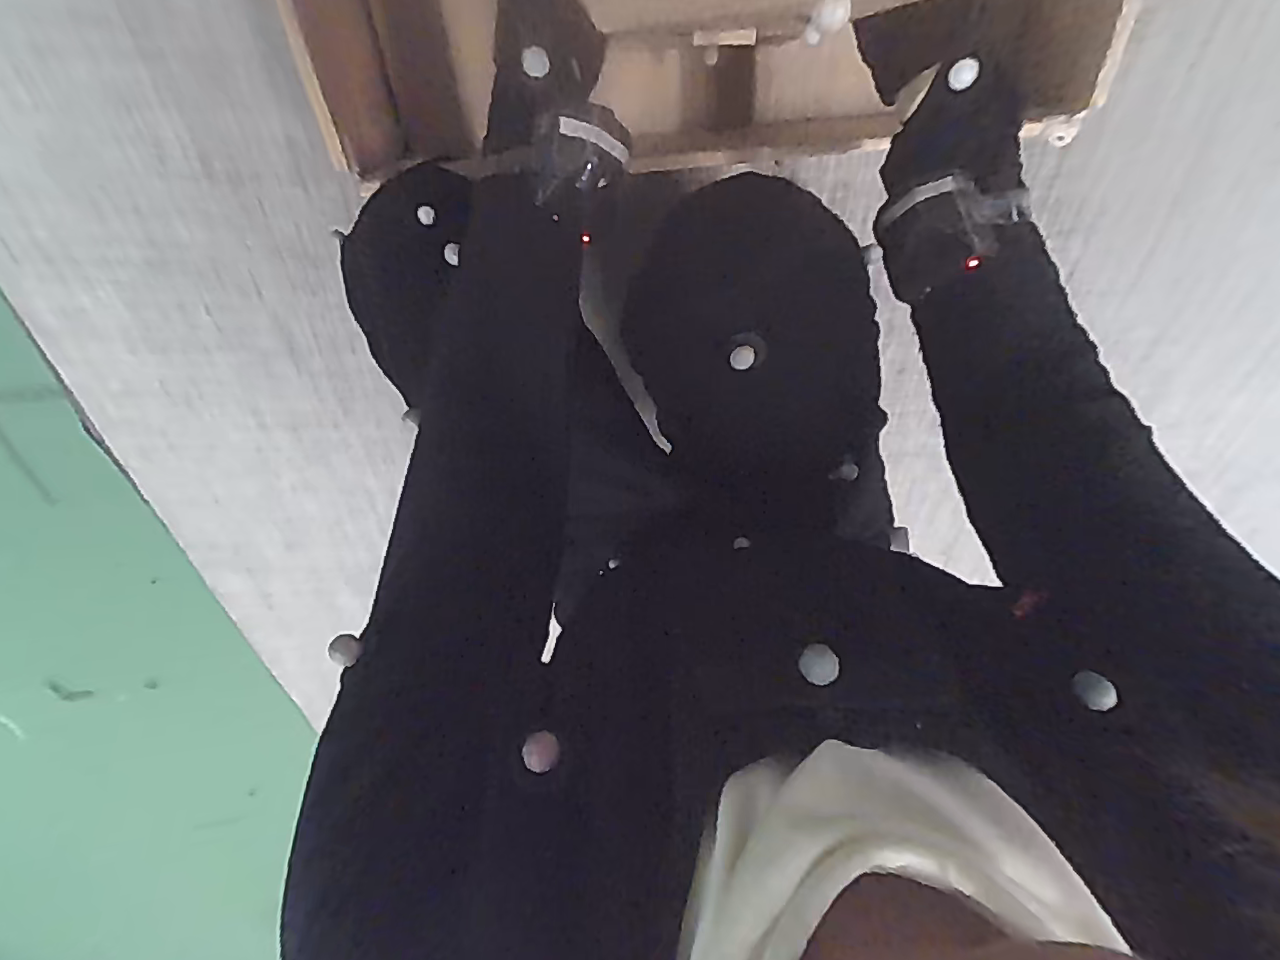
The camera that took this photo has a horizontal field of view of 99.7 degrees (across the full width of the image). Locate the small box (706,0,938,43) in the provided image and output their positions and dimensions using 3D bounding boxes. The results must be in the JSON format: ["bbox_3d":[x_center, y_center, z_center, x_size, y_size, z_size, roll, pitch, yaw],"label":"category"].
[{"bbox_3d":[0.056,-0.332,0.267,0.168,0.176,0.179,-3,125,1],"label":"small box"}]

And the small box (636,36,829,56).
[{"bbox_3d":[0.054,-0.426,0.399,0.168,0.176,0.179,-1,126,1],"label":"small box"}]

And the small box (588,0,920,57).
[{"bbox_3d":[0.059,-0.228,0.140,0.179,0.176,0.168,-9,126,4],"label":"small box"}]
